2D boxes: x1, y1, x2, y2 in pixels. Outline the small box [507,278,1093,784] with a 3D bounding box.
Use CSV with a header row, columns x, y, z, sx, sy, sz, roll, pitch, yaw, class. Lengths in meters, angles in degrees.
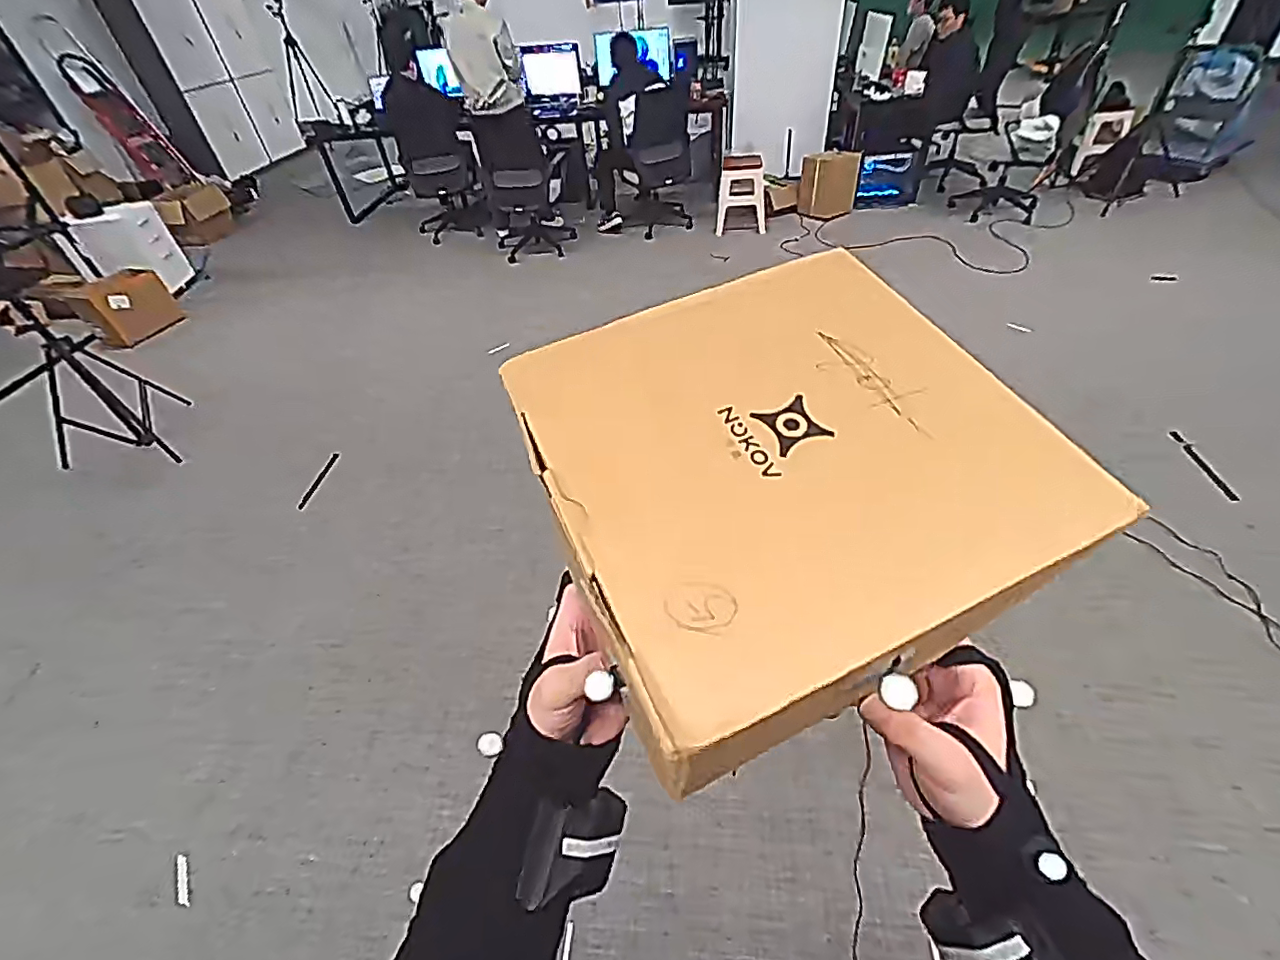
x,y,z,sx,sy,sz,roll,pitch,yaw,class
0.054,0.033,0.280,0.179,0.176,0.168,-21,58,-12,small box
